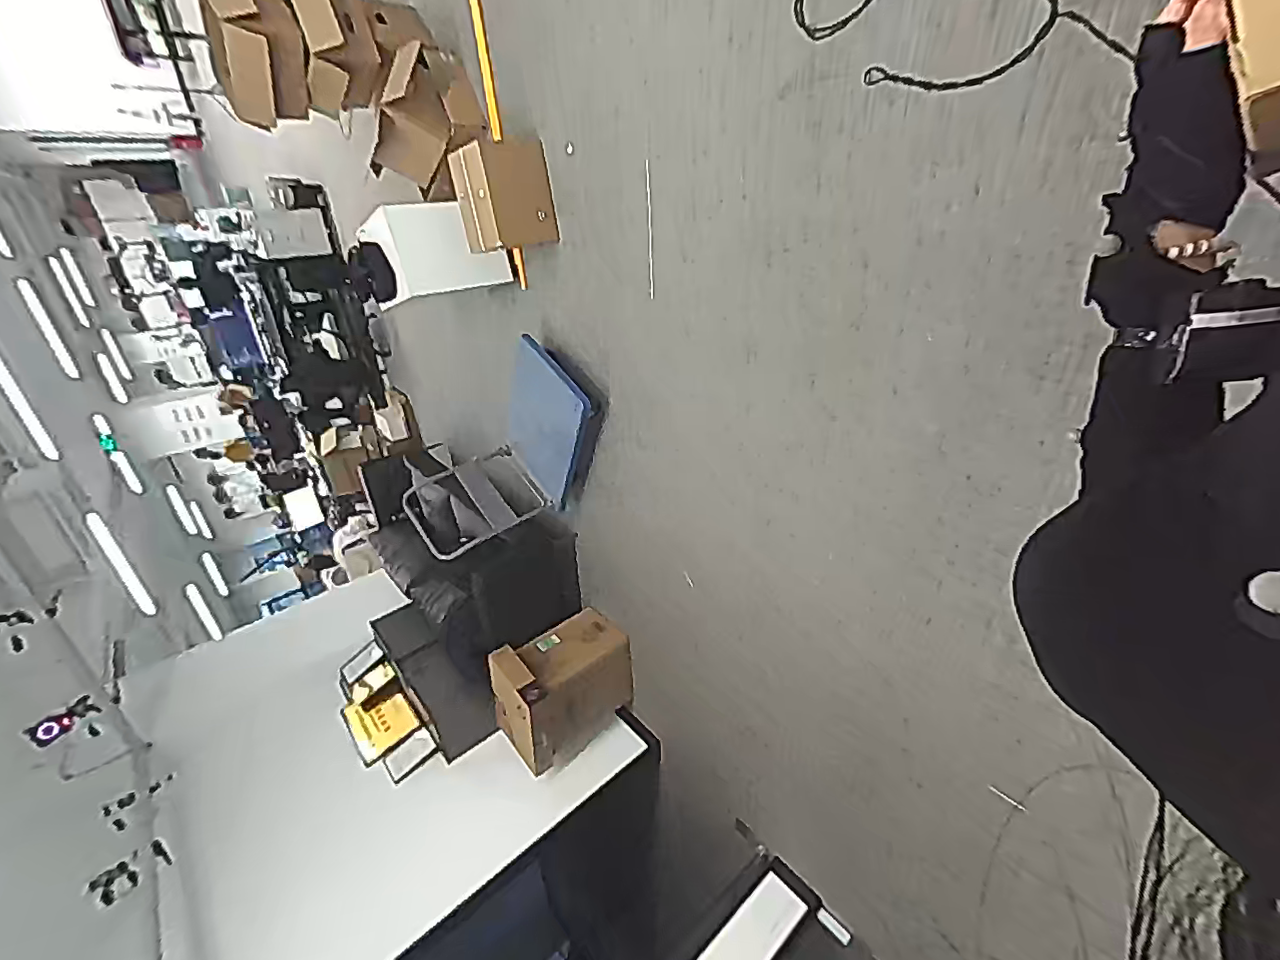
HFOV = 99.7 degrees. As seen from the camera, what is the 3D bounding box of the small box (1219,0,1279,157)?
[{"bbox_3d":[0.413,-0.297,0.263,0.179,0.176,0.168,-9,90,50],"label":"small box"}]
